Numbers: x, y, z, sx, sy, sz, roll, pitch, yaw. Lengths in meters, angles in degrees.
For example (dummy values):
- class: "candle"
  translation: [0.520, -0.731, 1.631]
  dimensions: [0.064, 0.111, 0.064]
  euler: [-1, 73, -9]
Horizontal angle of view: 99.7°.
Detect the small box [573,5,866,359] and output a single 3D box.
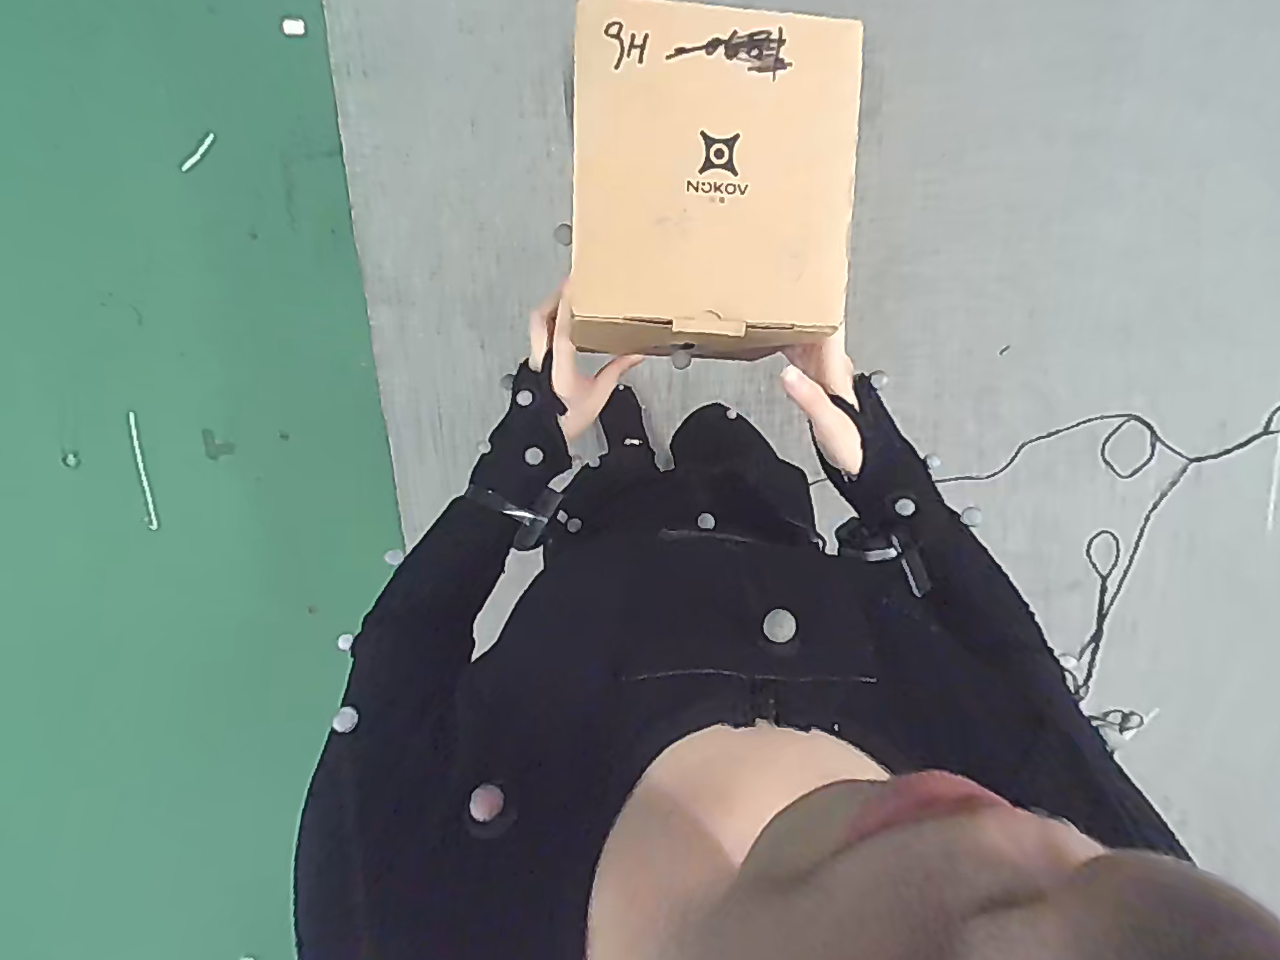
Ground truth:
- class: "small box"
  translation: [0.039, -0.184, 0.394]
  dimensions: [0.168, 0.176, 0.179]
  euler: [1, 98, -6]
